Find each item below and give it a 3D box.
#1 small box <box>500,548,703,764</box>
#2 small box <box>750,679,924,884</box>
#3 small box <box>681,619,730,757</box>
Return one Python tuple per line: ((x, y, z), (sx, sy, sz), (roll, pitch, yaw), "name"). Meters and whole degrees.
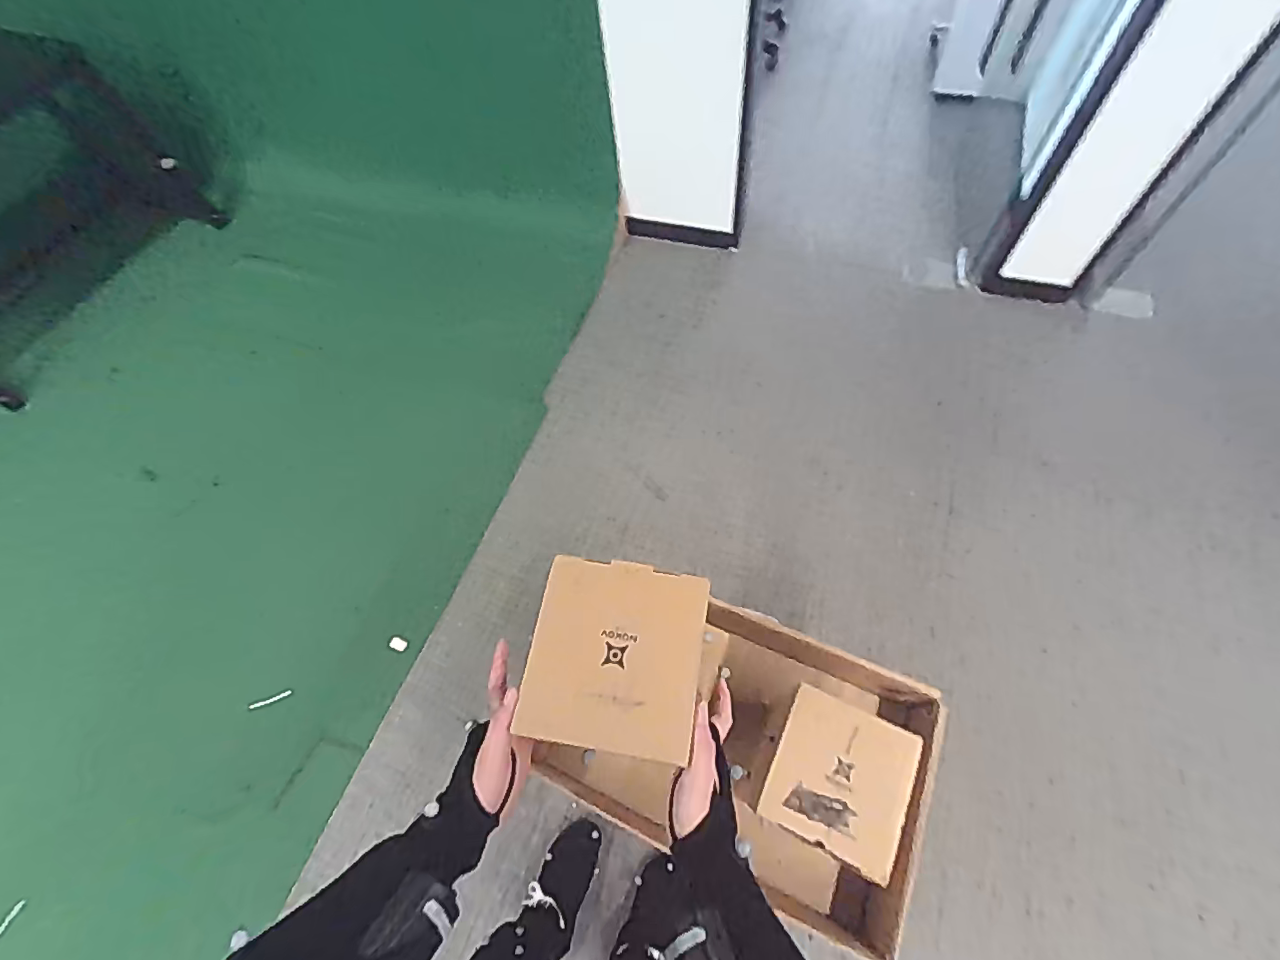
((-0.031, 0.193, 0.579), (0.168, 0.176, 0.179), (8, 64, 5), "small box")
((0.259, 0.405, 0.746), (0.168, 0.176, 0.179), (22, 66, 16), "small box")
((0.026, 0.298, 0.825), (0.168, 0.176, 0.179), (20, 65, 16), "small box")
